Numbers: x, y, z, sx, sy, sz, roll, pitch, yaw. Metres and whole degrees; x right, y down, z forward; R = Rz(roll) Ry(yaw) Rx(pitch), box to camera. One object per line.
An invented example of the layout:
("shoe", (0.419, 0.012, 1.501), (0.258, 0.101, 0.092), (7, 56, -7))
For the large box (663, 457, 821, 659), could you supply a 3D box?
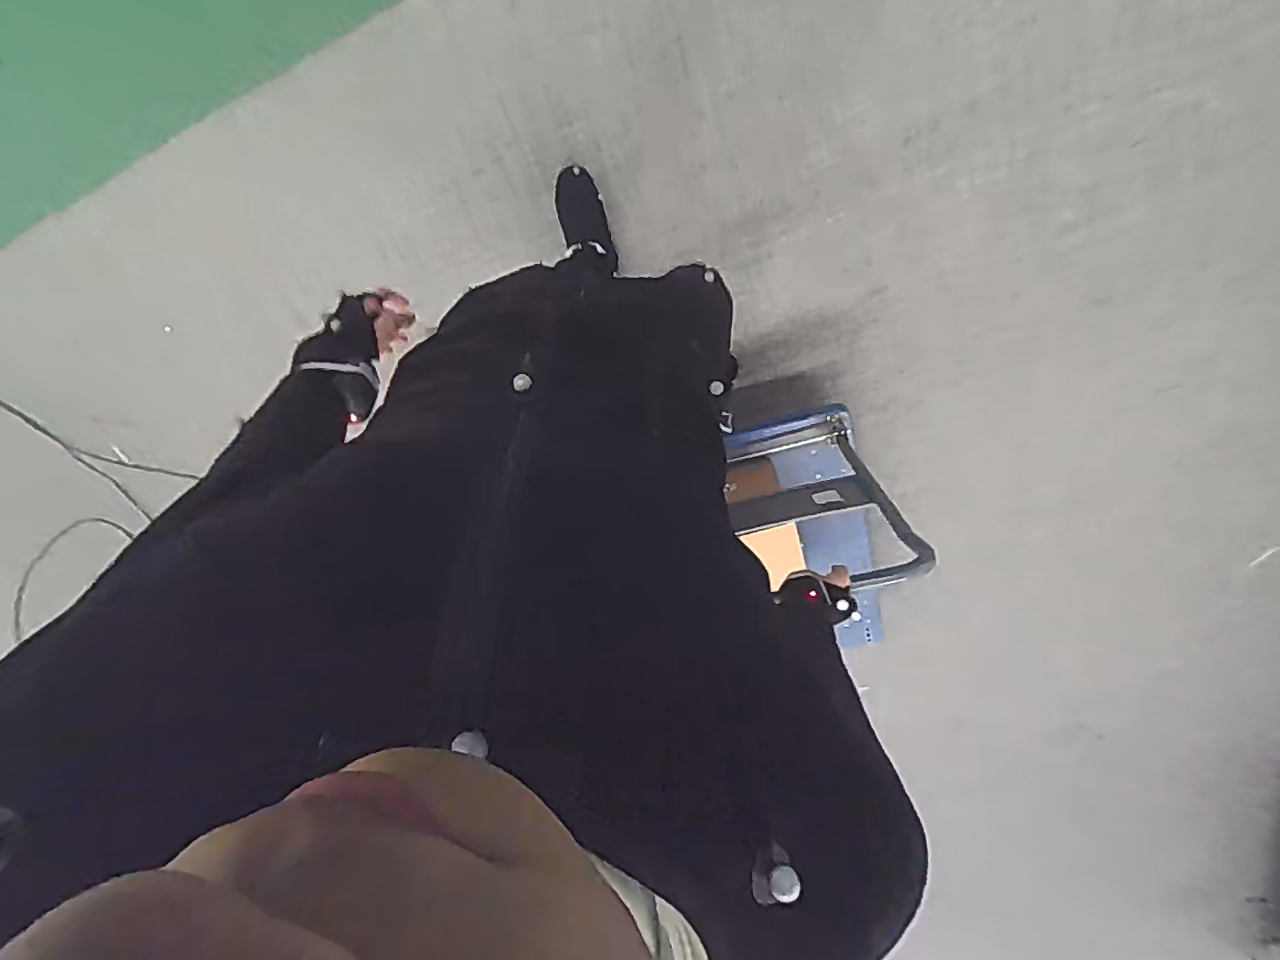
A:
("large box", (0.267, 0.209, 1.478), (0.320, 0.320, 0.408), (-15, 118, 11))
